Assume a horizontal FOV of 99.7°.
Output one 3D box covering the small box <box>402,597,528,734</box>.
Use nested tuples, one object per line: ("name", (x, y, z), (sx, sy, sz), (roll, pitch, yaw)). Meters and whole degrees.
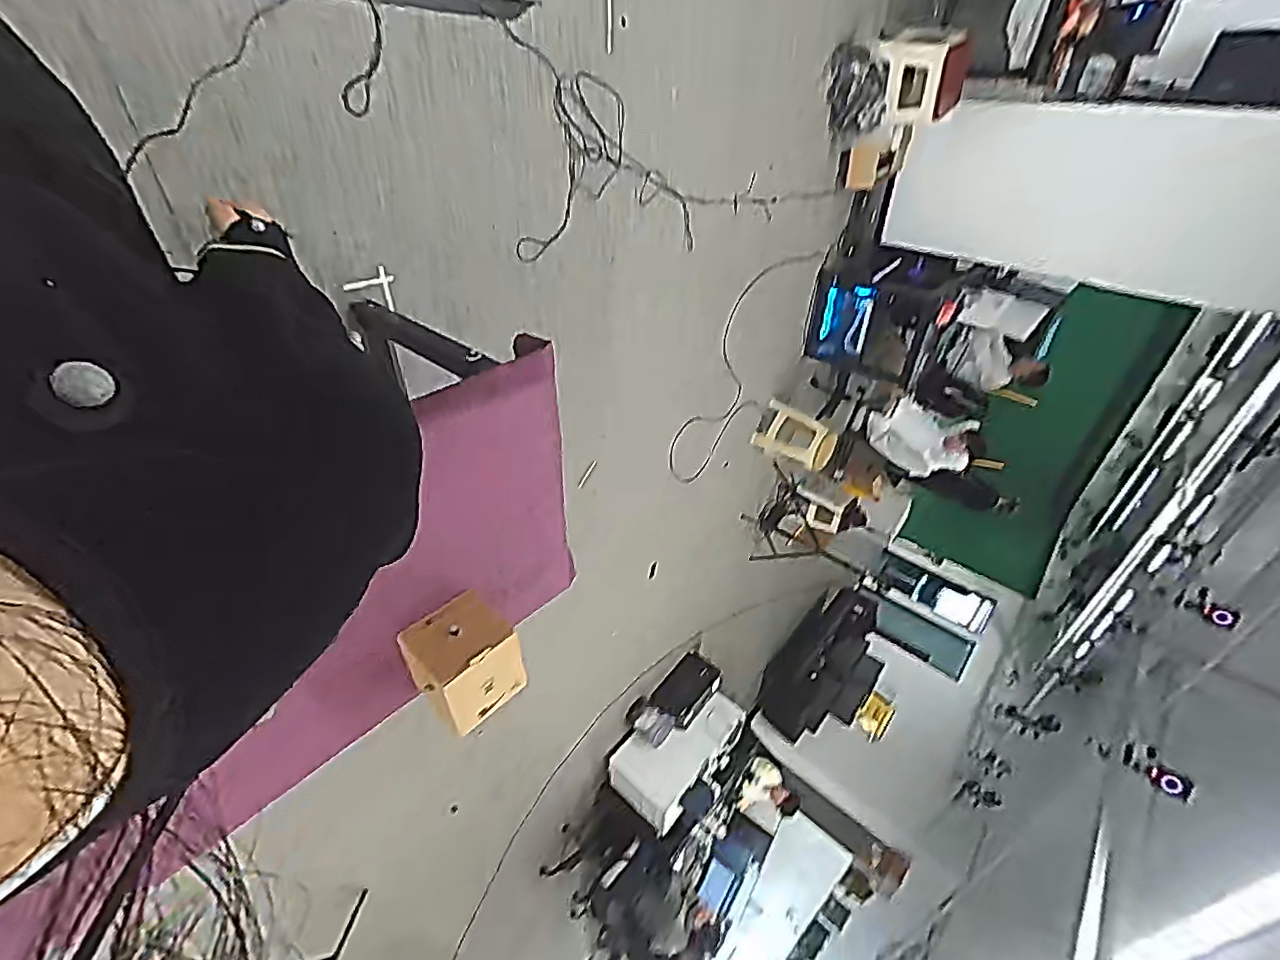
("small box", (-0.352, 0.361, 1.093), (0.168, 0.176, 0.179), (-33, 136, -37))
